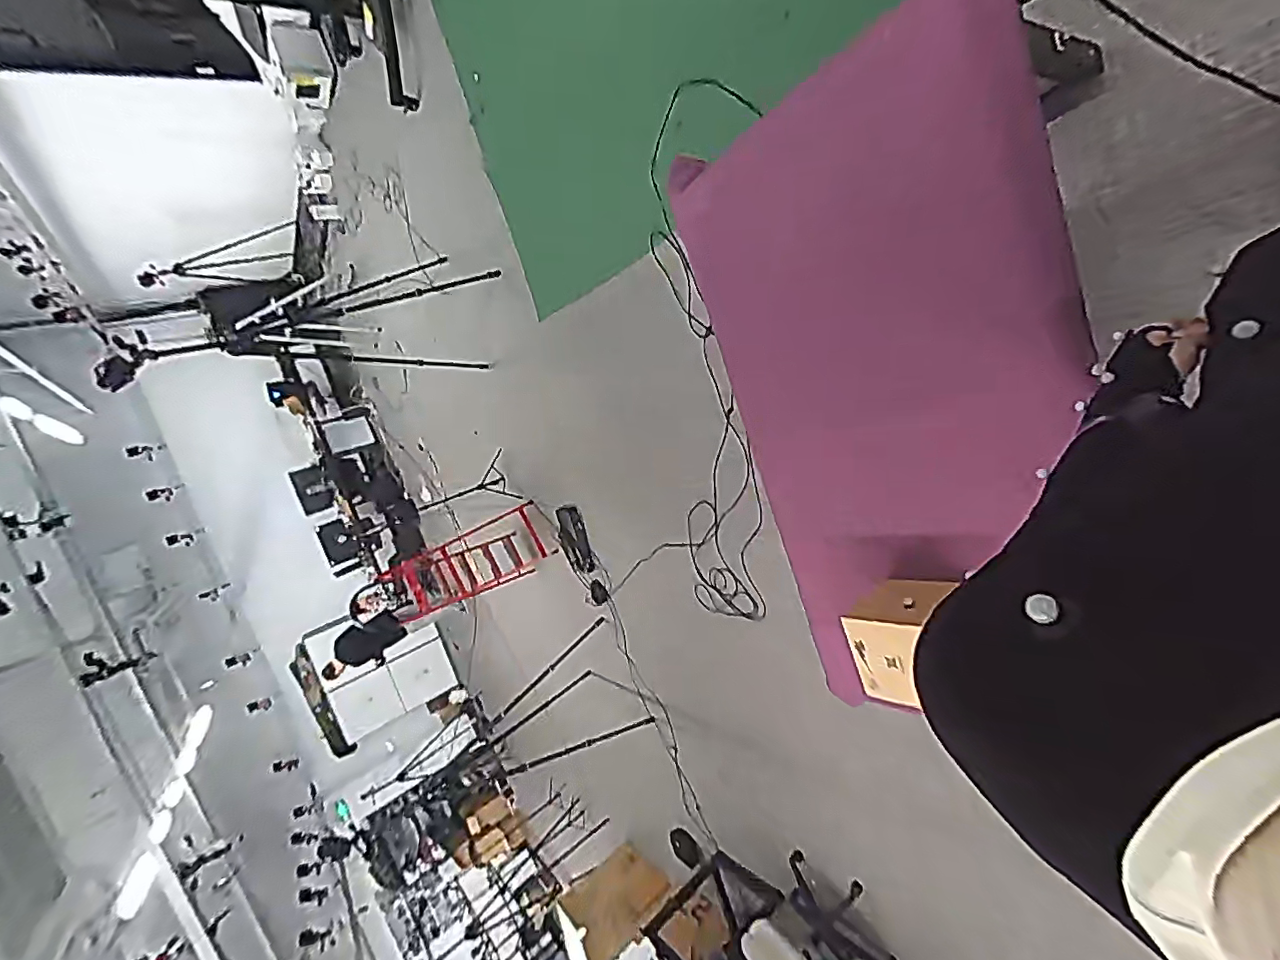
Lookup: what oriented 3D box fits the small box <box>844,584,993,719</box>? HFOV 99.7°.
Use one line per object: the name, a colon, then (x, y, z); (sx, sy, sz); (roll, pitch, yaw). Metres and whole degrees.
small box: (0.514, 0.301, 0.989); (0.179, 0.176, 0.168); (-13, 98, 55)
